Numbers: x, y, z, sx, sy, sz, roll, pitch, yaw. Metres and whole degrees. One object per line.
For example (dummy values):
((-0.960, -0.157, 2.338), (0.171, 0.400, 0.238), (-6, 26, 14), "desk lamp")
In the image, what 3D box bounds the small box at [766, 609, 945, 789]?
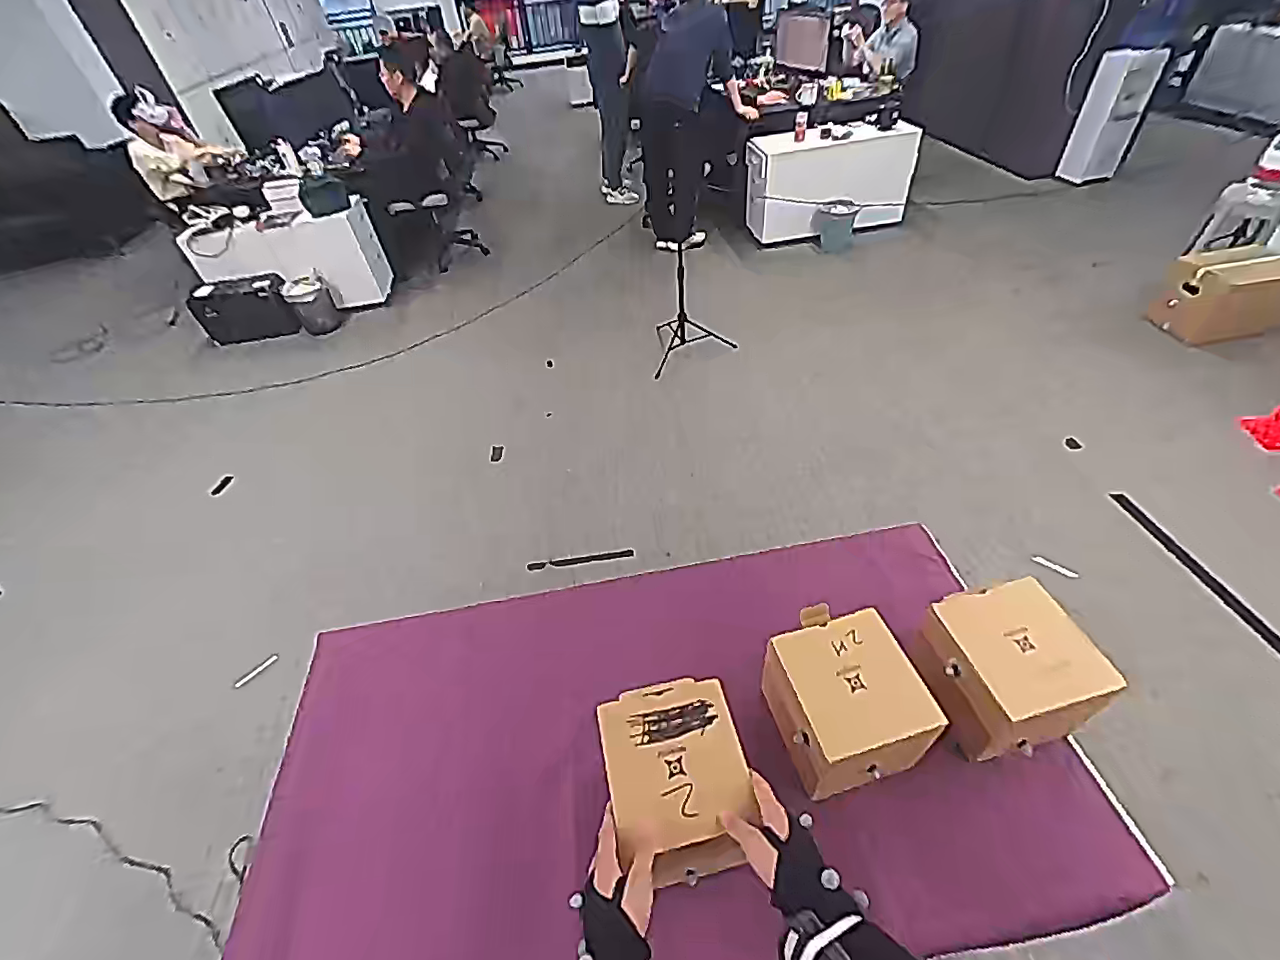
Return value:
((0.293, 0.321, 0.780), (0.168, 0.176, 0.179), (-15, 45, -6), "small box")

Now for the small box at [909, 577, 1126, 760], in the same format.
((0.528, 0.275, 0.791), (0.168, 0.176, 0.179), (-14, 45, -4), "small box")
